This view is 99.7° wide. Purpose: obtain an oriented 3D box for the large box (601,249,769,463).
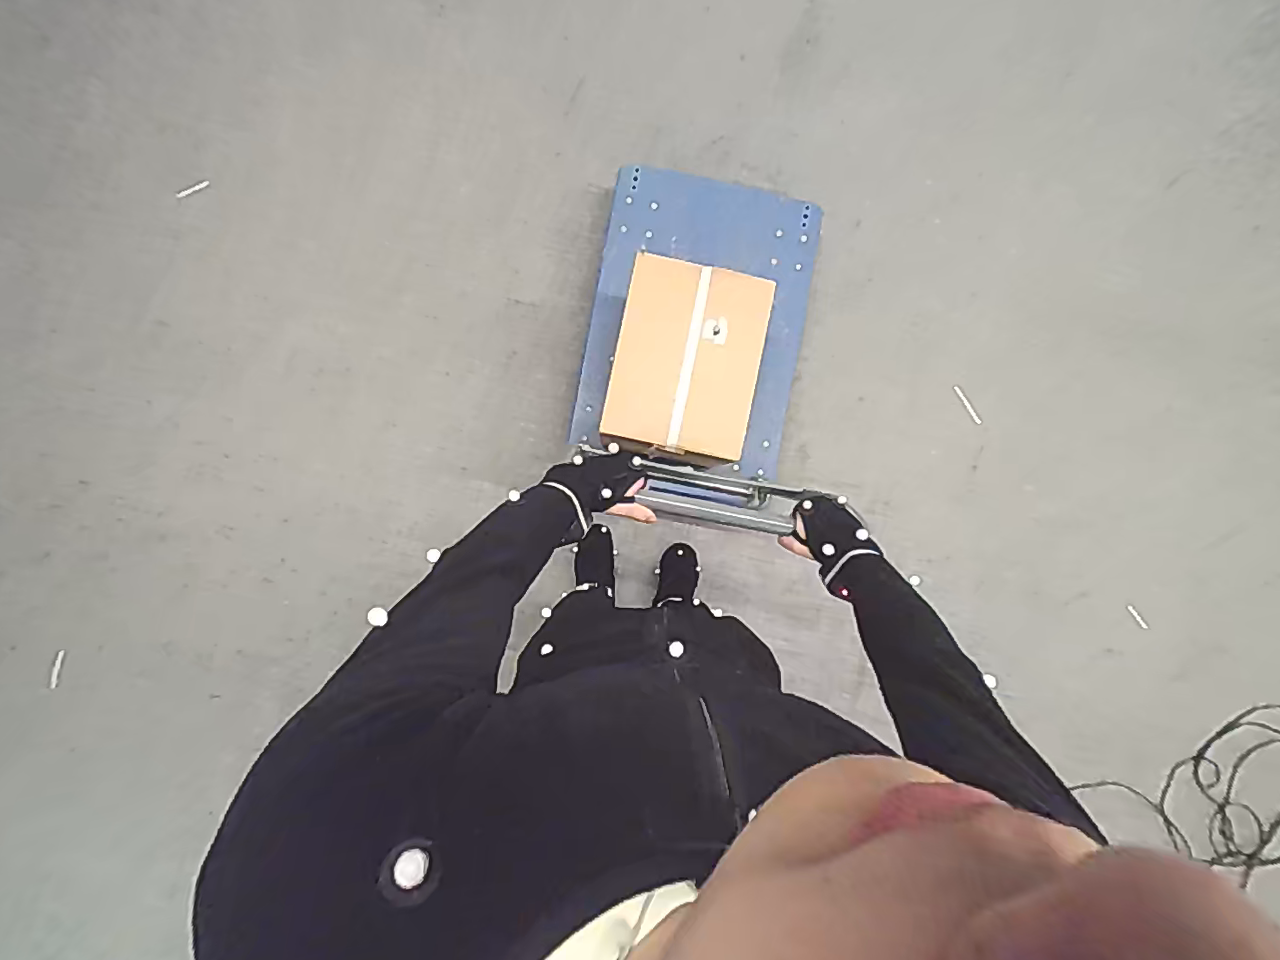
[{"bbox_3d":[0.092,-0.271,1.311,0.320,0.320,0.408,11,87,-4],"label":"large box"}]
